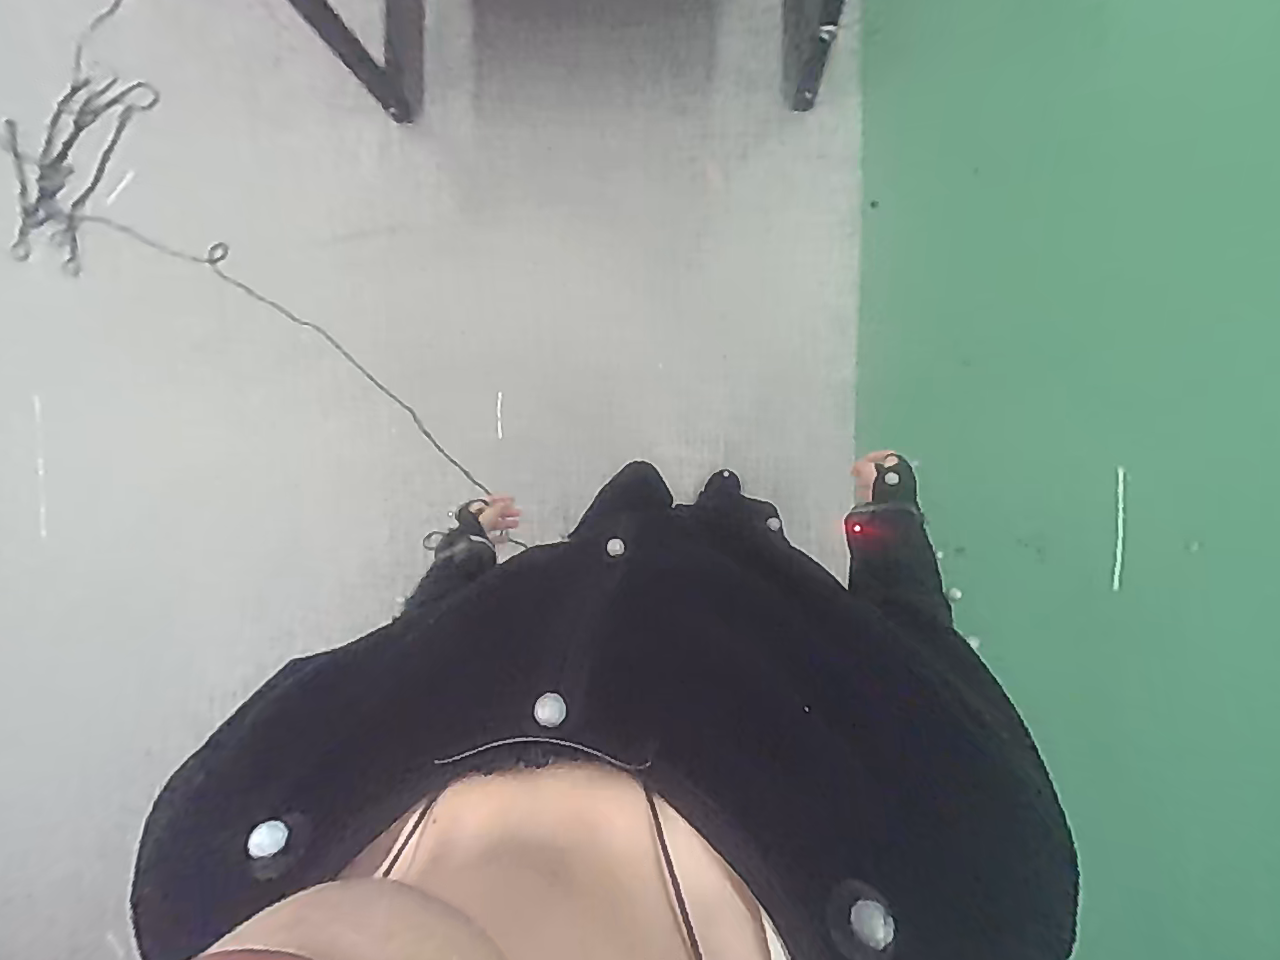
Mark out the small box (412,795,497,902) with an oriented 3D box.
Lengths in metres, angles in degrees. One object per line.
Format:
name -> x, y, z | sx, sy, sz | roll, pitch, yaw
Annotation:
small box -> -0.506, 1.010, 1.497 | 0.168, 0.176, 0.179 | 5, 93, 6
